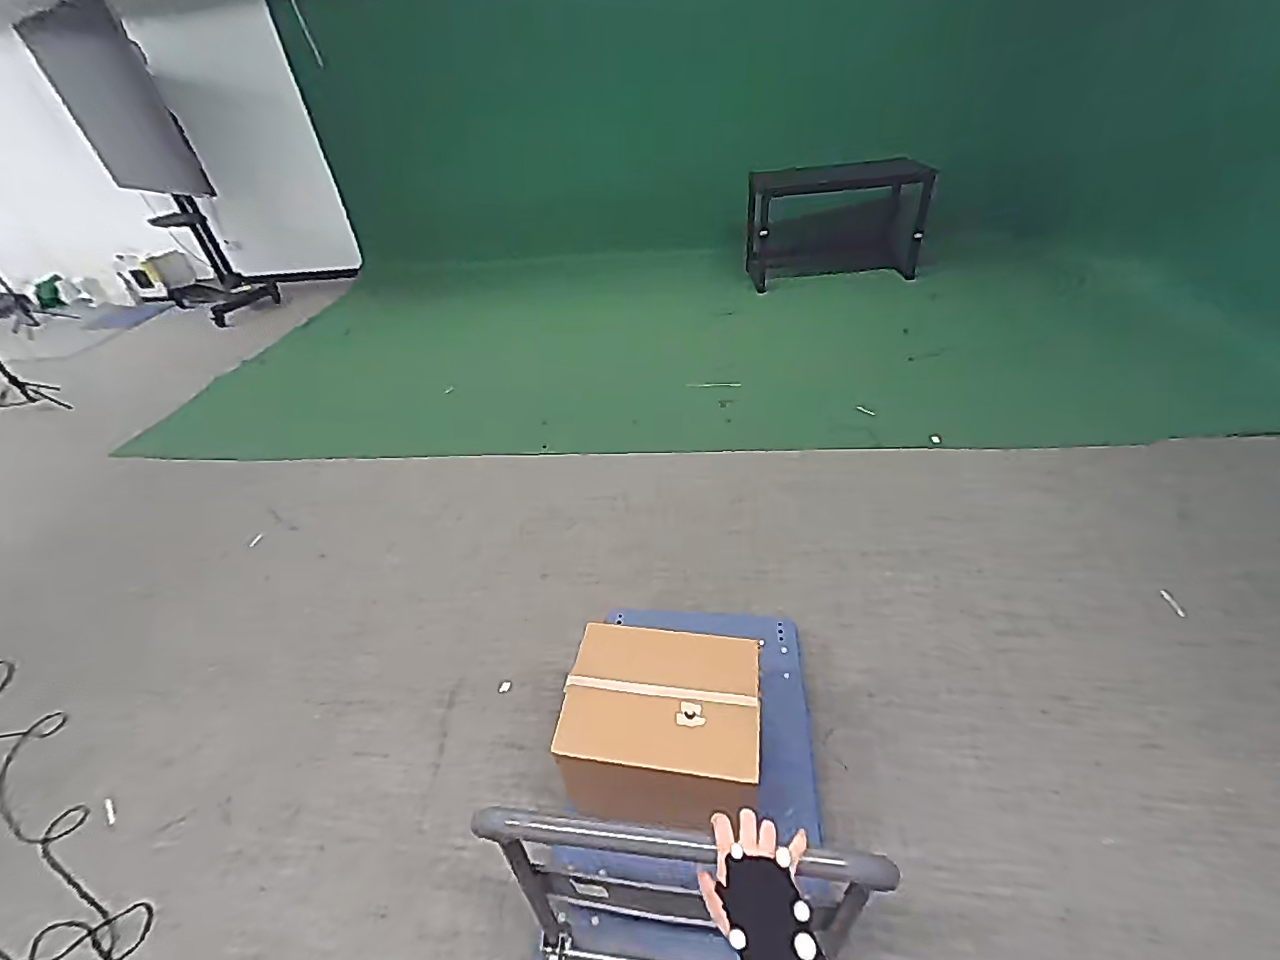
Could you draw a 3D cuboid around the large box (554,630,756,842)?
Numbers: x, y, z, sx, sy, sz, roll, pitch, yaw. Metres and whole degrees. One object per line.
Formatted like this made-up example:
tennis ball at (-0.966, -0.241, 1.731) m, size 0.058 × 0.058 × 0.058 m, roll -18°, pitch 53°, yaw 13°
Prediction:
large box at (0.051, 0.583, 1.249) m, size 0.408 × 0.320 × 0.320 m, roll 4°, pitch 39°, yaw 9°
